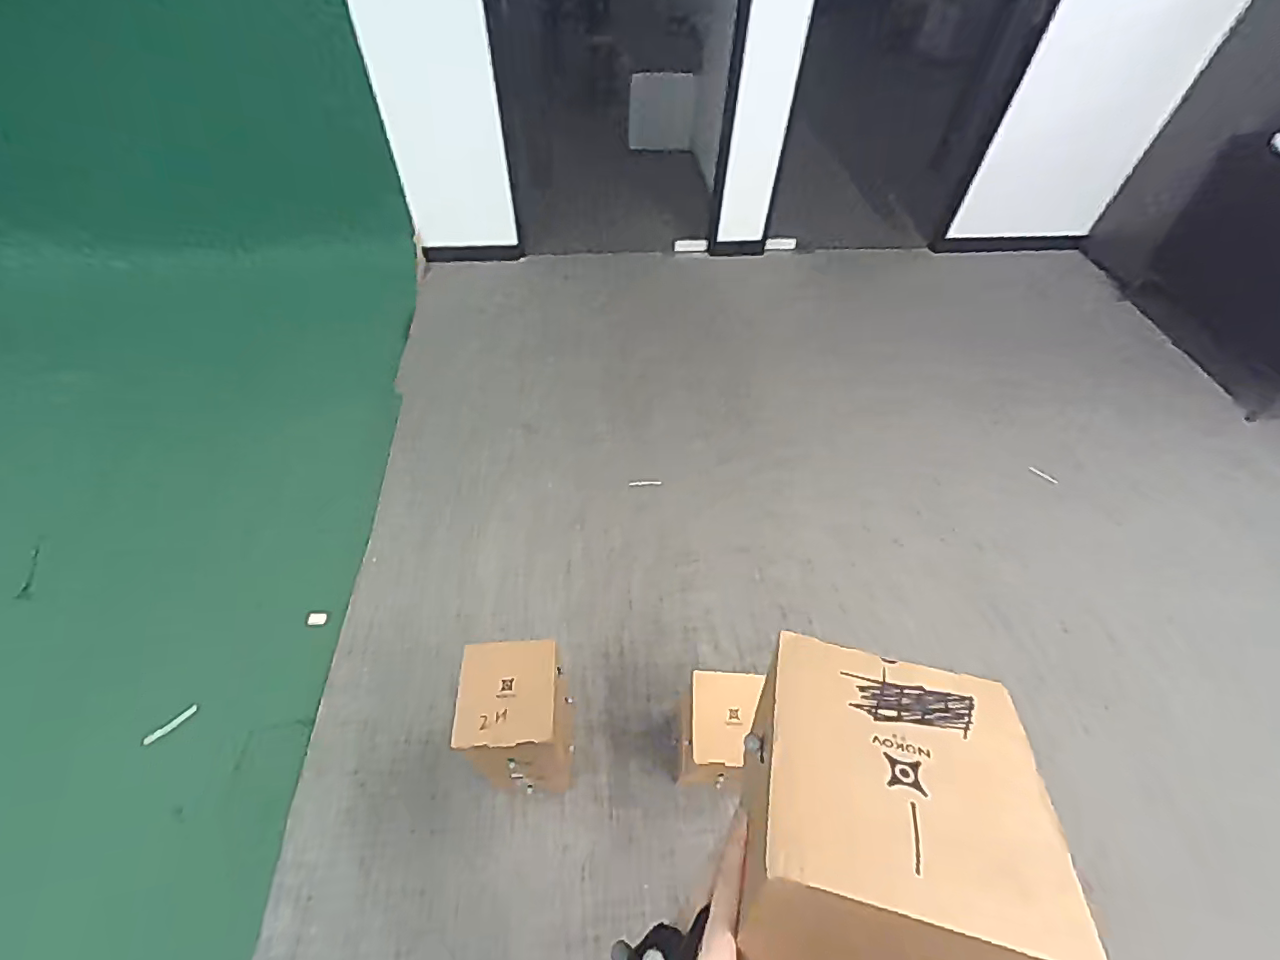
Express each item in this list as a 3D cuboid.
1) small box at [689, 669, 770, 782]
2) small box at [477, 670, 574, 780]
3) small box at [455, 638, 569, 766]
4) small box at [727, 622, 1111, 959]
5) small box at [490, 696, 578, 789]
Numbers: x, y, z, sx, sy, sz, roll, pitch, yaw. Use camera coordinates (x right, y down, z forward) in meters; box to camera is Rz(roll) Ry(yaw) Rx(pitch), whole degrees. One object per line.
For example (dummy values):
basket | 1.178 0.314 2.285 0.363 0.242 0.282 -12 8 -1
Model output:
small box | 0.191 0.513 1.123 0.168 0.176 0.179 3 53 1
small box | -0.228 0.505 1.117 0.168 0.176 0.179 -3 53 -2
small box | -0.222 0.405 0.986 0.168 0.176 0.179 -3 52 -2
small box | 0.161 0.237 0.380 0.168 0.176 0.179 11 33 11
small box | -0.235 0.604 1.246 0.168 0.176 0.179 1 53 -1
